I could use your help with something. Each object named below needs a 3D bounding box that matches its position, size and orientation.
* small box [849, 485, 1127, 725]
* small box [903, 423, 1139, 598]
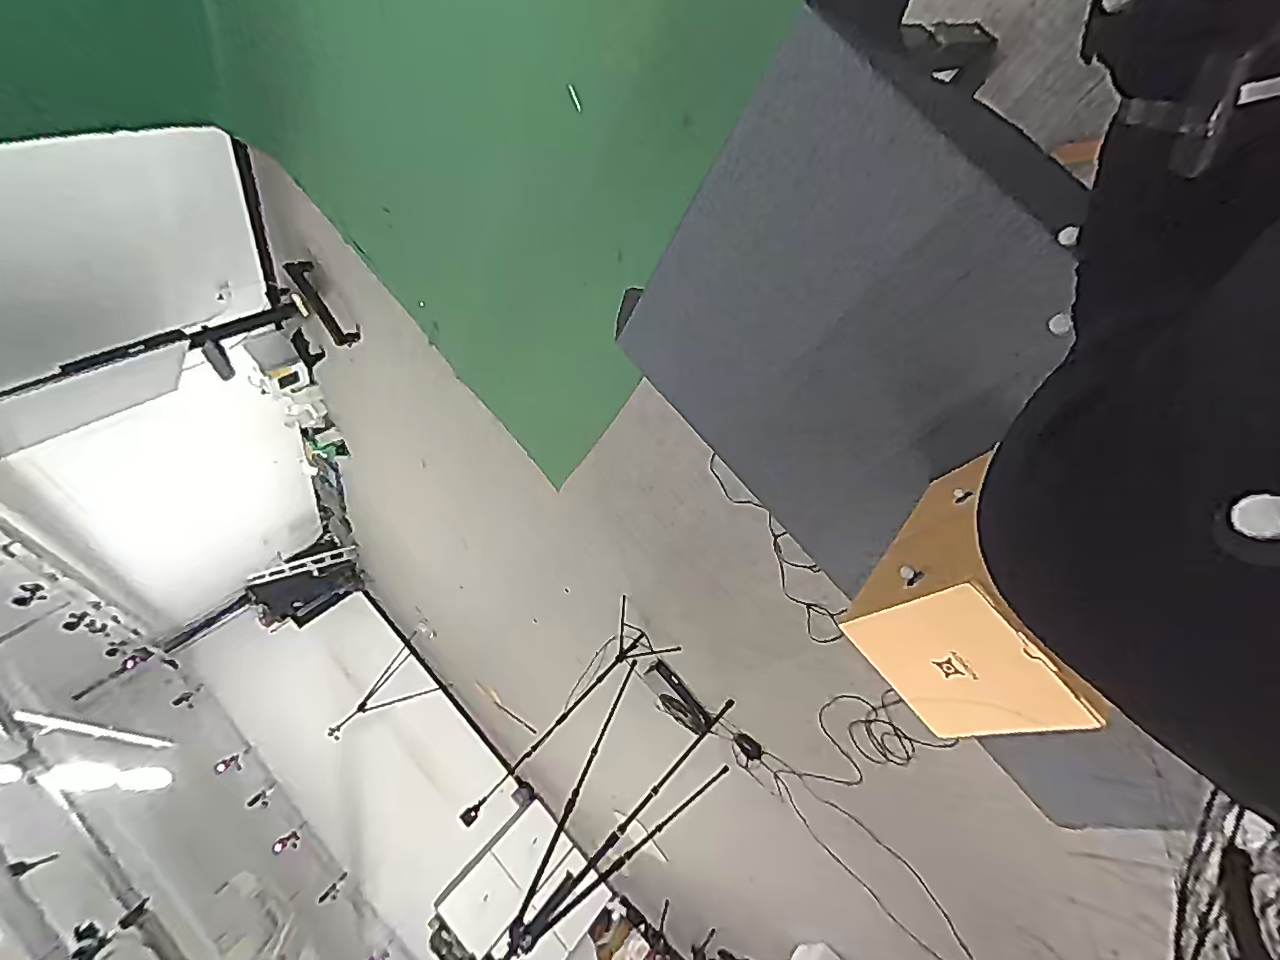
[{"bbox_3d":[0.377,0.137,0.592,0.168,0.176,0.179,48,144,6],"label":"small box"},{"bbox_3d":[0.483,0.058,0.686,0.168,0.176,0.179,48,145,6],"label":"small box"}]
